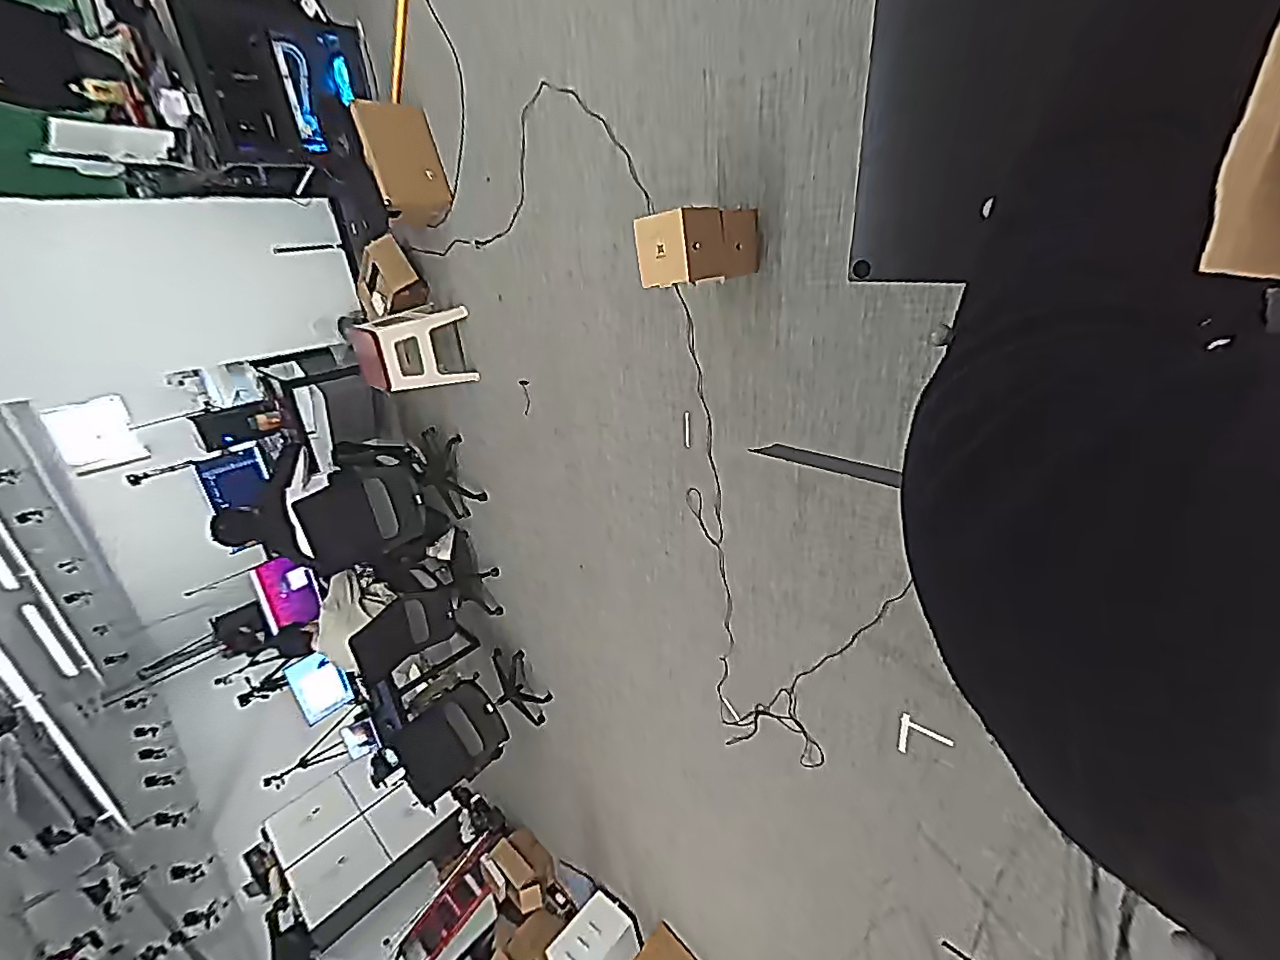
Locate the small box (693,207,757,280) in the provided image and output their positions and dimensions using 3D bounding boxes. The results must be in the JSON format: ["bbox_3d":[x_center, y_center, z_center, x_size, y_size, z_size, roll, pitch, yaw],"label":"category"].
[{"bbox_3d":[0.222,-0.677,1.550,0.168,0.176,0.179,14,121,42],"label":"small box"}]

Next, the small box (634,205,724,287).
[{"bbox_3d":[0.110,-0.625,1.444,0.168,0.176,0.179,10,117,42],"label":"small box"}]
